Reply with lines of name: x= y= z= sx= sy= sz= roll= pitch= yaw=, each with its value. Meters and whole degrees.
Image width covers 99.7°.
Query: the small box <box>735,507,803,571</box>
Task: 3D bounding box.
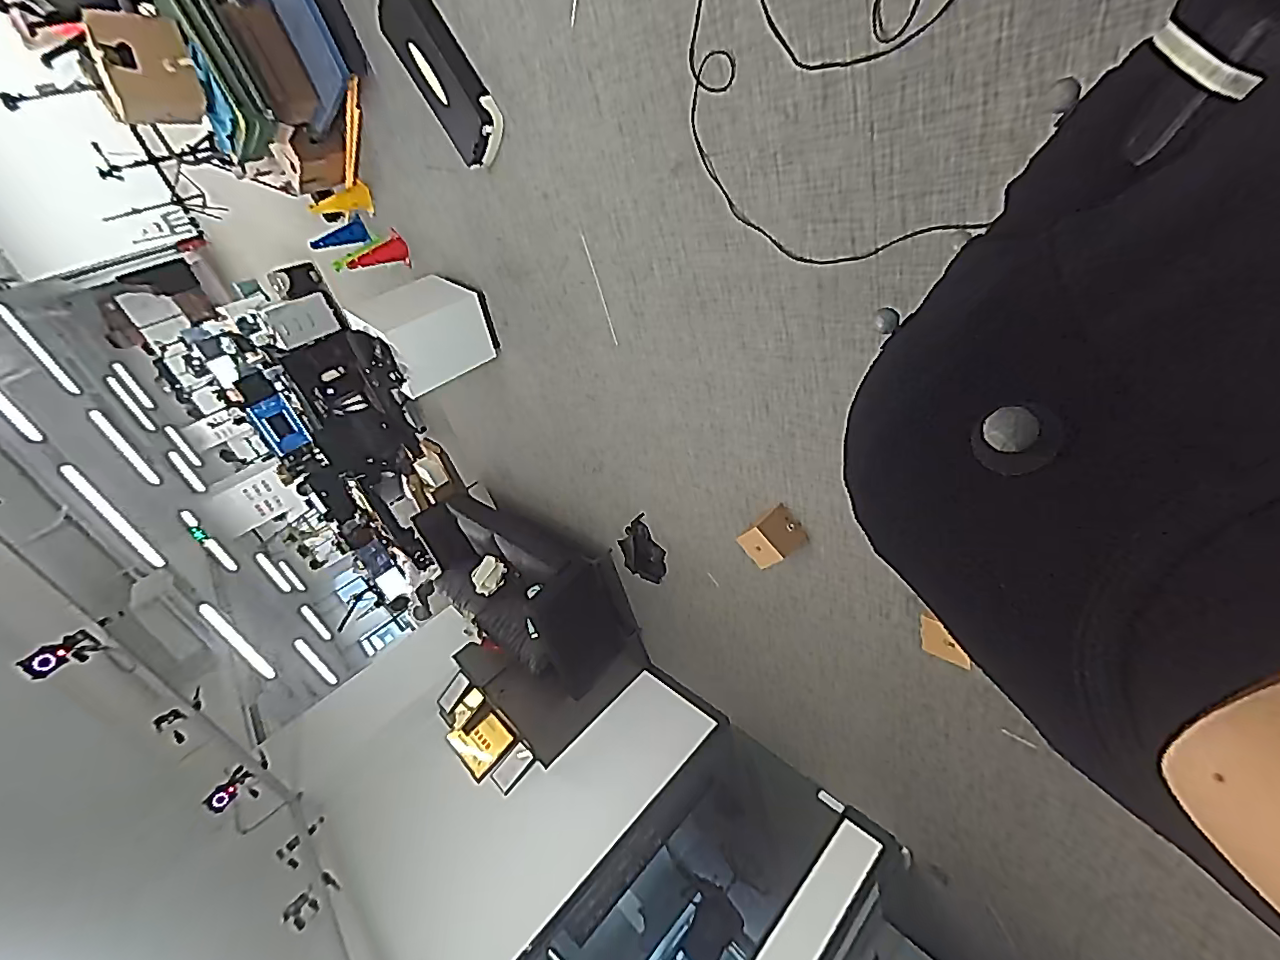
small box: x=0.521 y=0.237 z=2.172 sx=0.168 sy=0.176 sz=0.179 roll=49 pitch=151 yaw=6

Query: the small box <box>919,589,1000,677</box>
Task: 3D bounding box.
small box: x=1.007 y=0.473 z=1.702 sx=0.179 sy=0.176 sz=0.168 roll=19 pitch=136 yaw=48
